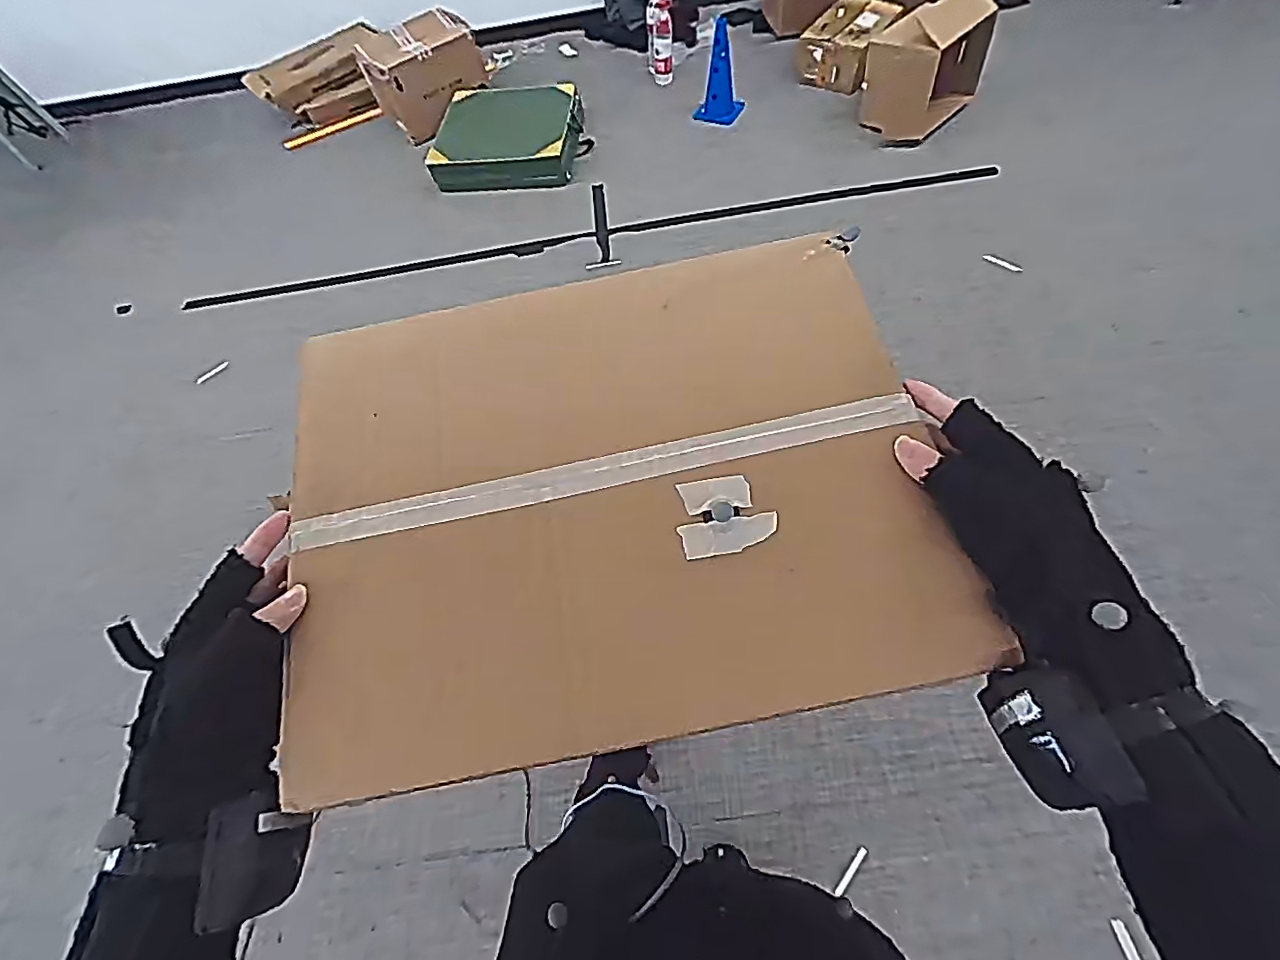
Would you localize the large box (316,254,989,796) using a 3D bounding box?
[{"bbox_3d":[-0.010,0.057,0.502,0.408,0.320,0.320,-12,69,-1],"label":"large box"}]
